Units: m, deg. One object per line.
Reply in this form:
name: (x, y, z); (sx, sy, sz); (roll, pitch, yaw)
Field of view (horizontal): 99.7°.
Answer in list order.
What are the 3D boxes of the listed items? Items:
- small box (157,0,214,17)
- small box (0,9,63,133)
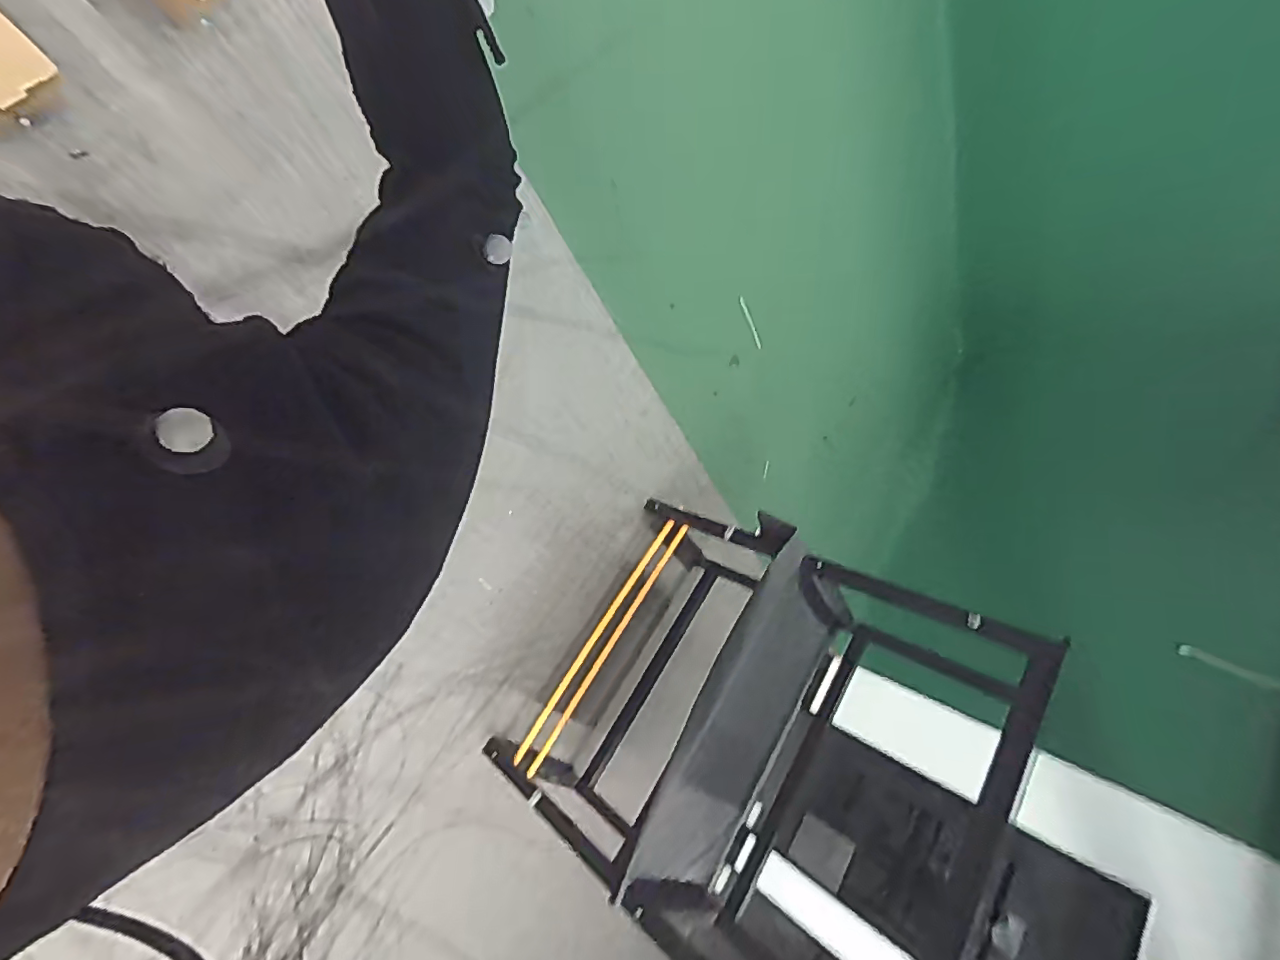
small box: (-0.813, -0.952, 0.935); (0.179, 0.176, 0.168); (46, 69, -44)
small box: (-1.029, -0.640, 0.802); (0.168, 0.176, 0.179); (-55, 136, -18)
